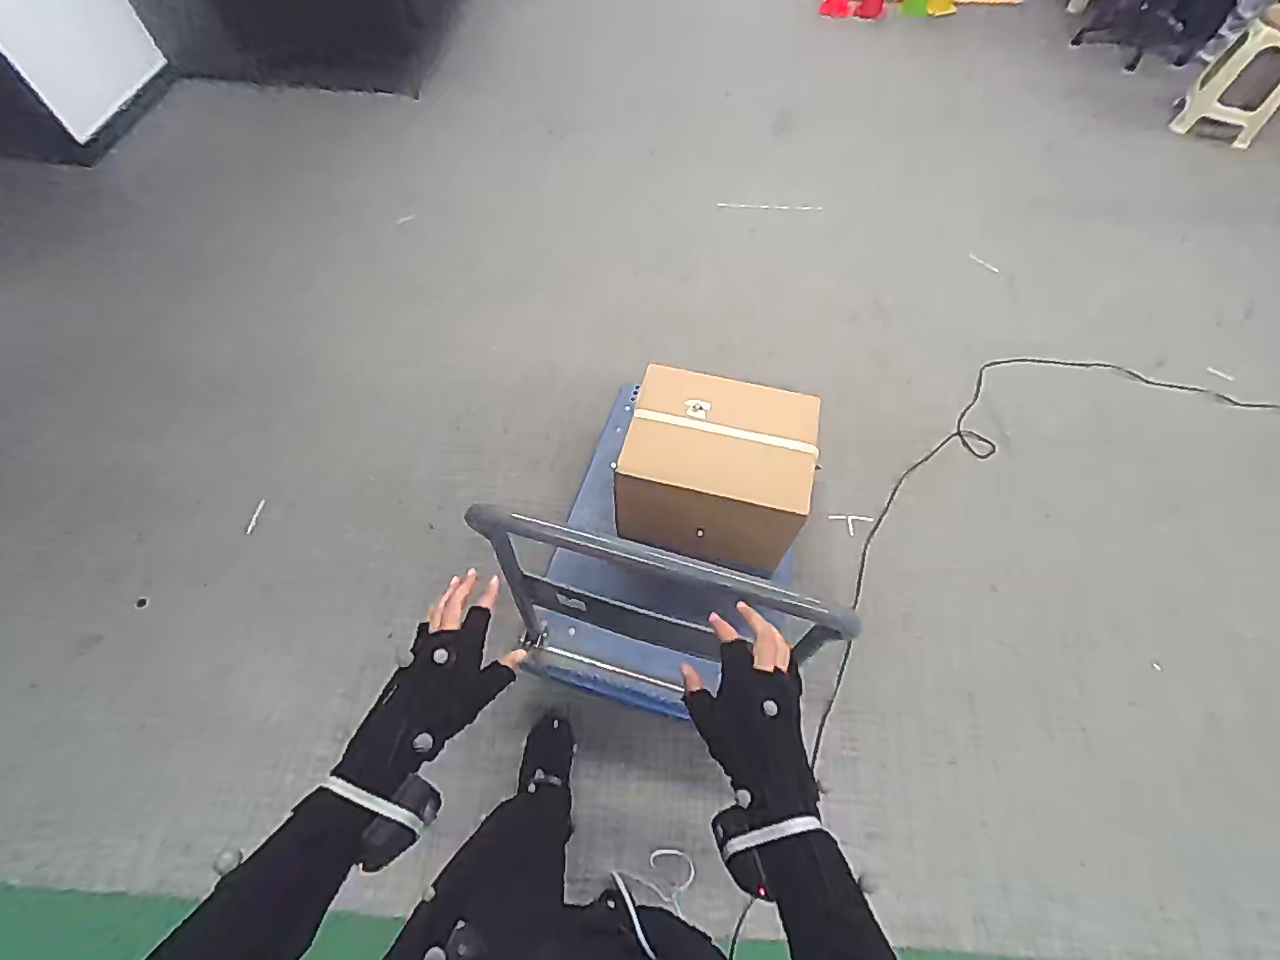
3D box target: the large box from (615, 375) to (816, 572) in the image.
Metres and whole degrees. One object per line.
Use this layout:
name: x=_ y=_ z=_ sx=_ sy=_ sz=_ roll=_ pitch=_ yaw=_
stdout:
large box: x=0.177 y=-0.008 z=1.303 sx=0.408 sy=0.320 sz=0.320 roll=12 pitch=59 yaw=8
